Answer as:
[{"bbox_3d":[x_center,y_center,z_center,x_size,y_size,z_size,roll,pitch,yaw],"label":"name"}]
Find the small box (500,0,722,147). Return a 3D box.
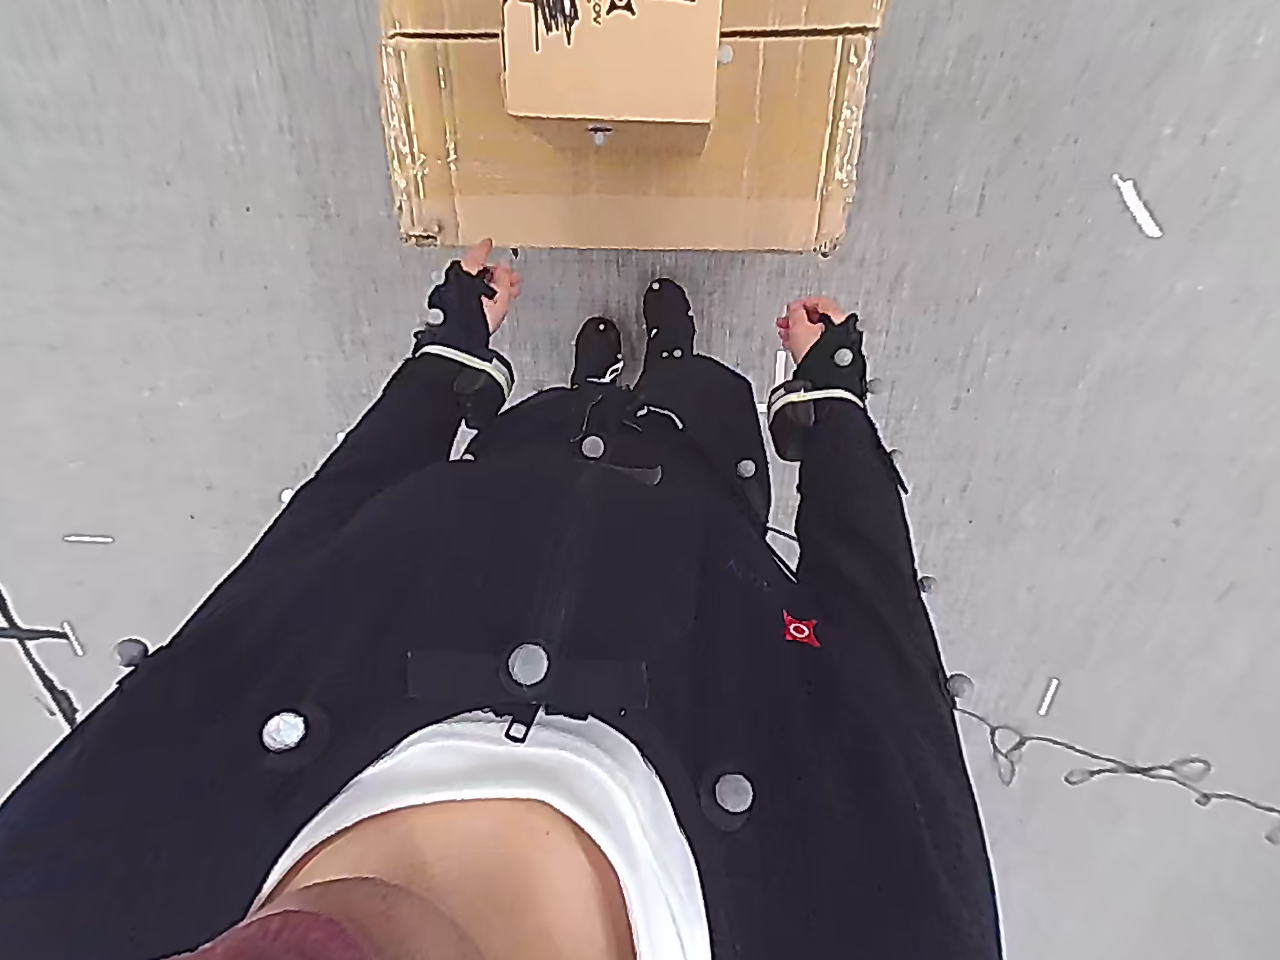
[{"bbox_3d":[-0.018,-0.411,0.488,0.179,0.176,0.168,4,114,2],"label":"small box"}]
